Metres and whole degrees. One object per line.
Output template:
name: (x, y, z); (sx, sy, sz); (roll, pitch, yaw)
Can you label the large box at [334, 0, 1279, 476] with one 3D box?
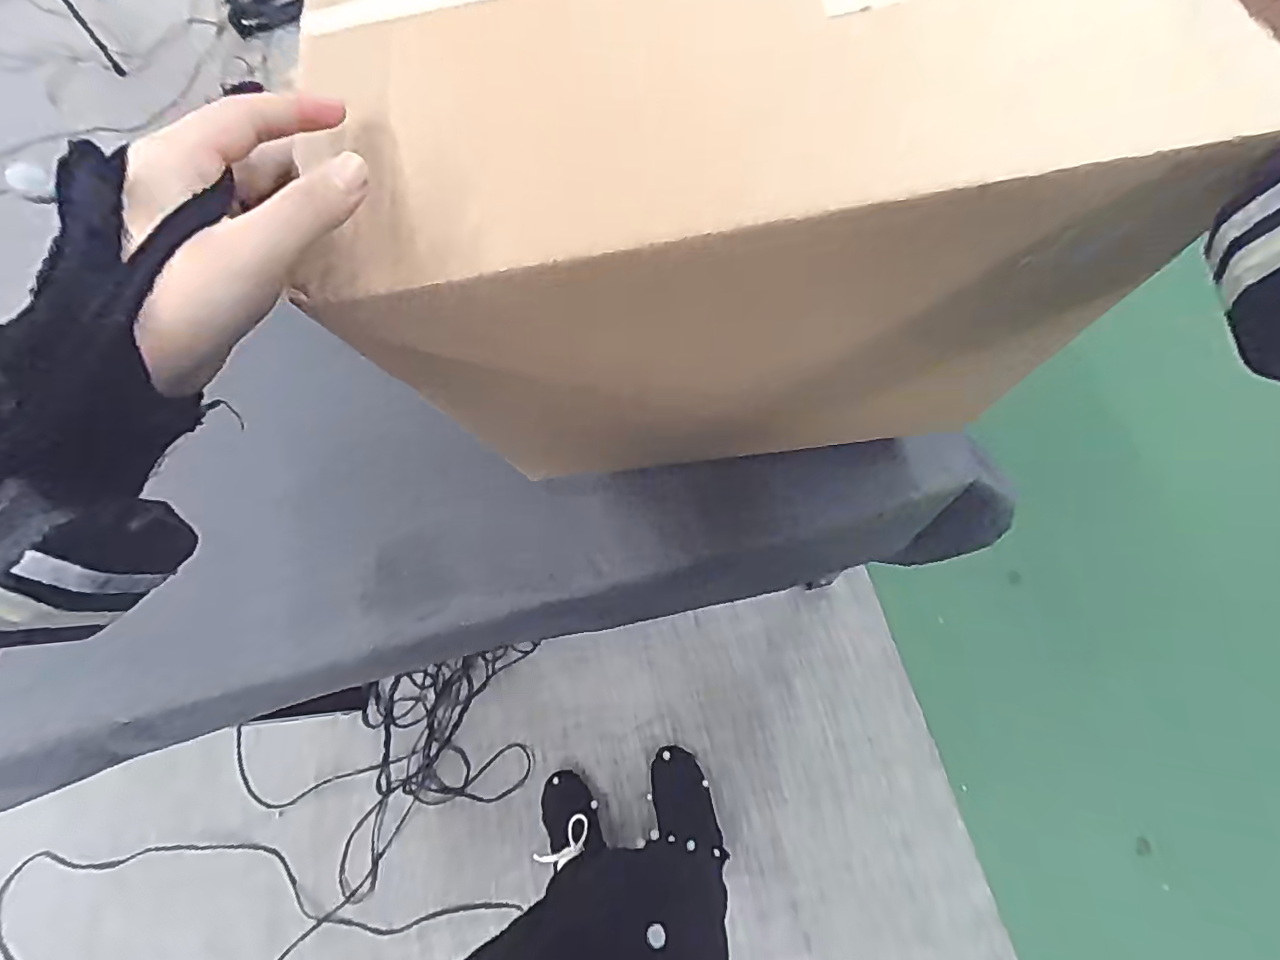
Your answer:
large box: (0.060, -0.212, 0.404); (0.408, 0.320, 0.320); (-7, 75, 5)
